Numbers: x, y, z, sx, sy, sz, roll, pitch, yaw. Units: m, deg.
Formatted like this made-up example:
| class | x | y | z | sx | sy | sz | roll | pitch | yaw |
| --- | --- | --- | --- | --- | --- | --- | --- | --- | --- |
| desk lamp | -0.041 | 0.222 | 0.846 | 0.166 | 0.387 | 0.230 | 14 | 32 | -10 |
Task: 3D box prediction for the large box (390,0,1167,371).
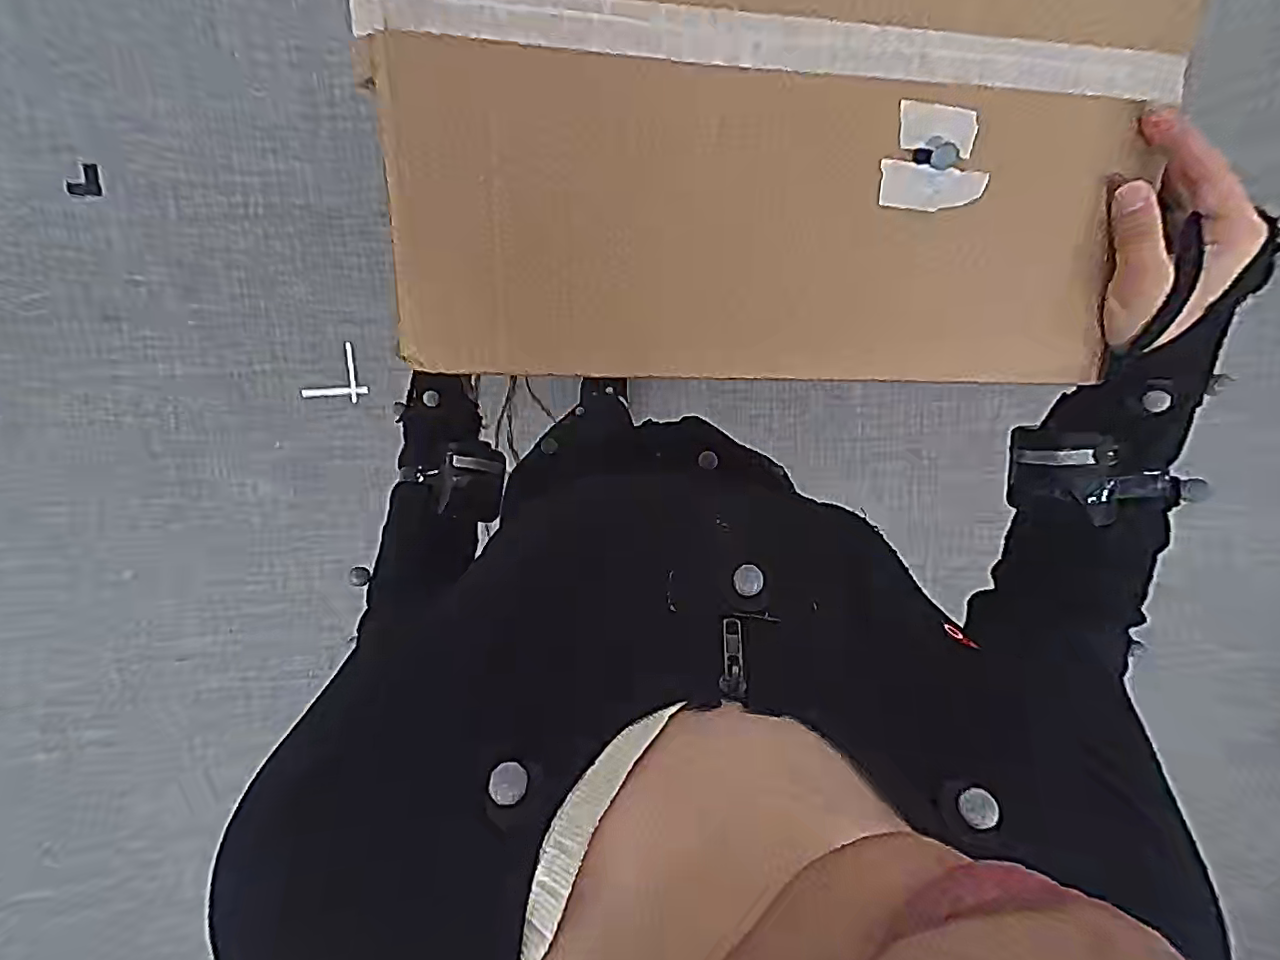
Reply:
| class | x | y | z | sx | sy | sz | roll | pitch | yaw |
| --- | --- | --- | --- | --- | --- | --- | --- | --- | --- |
| large box | 0.059 | -0.253 | 0.414 | 0.408 | 0.320 | 0.320 | -1 | 106 | -9 |
